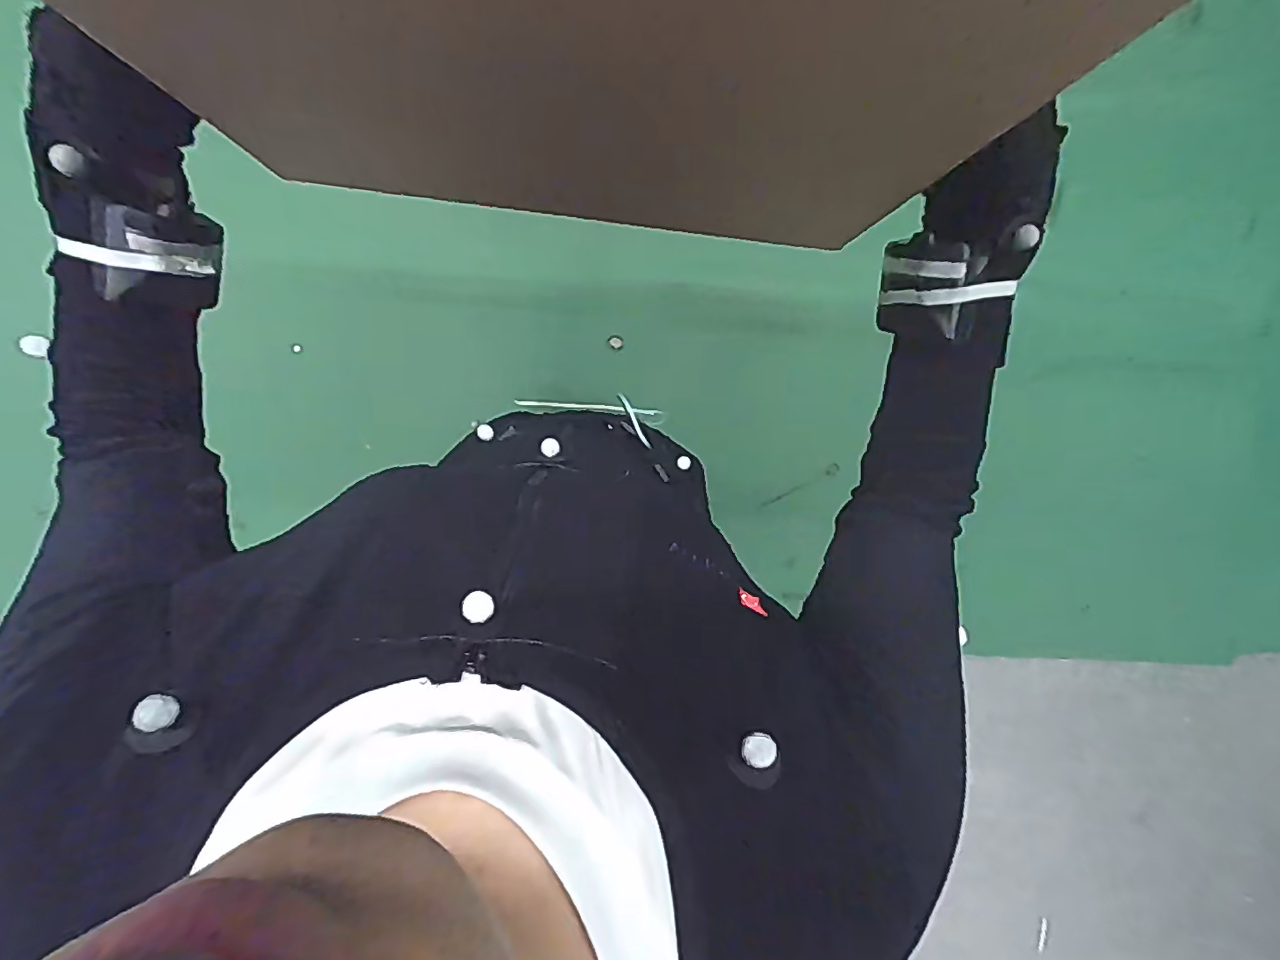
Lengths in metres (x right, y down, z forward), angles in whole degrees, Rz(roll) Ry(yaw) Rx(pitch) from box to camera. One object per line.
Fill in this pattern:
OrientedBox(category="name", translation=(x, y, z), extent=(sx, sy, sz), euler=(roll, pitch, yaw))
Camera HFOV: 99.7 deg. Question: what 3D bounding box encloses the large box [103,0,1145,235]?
OrientedBox(category="large box", translation=(-0.018, -0.331, 0.226), extent=(0.408, 0.320, 0.320), euler=(6, 96, -5))
